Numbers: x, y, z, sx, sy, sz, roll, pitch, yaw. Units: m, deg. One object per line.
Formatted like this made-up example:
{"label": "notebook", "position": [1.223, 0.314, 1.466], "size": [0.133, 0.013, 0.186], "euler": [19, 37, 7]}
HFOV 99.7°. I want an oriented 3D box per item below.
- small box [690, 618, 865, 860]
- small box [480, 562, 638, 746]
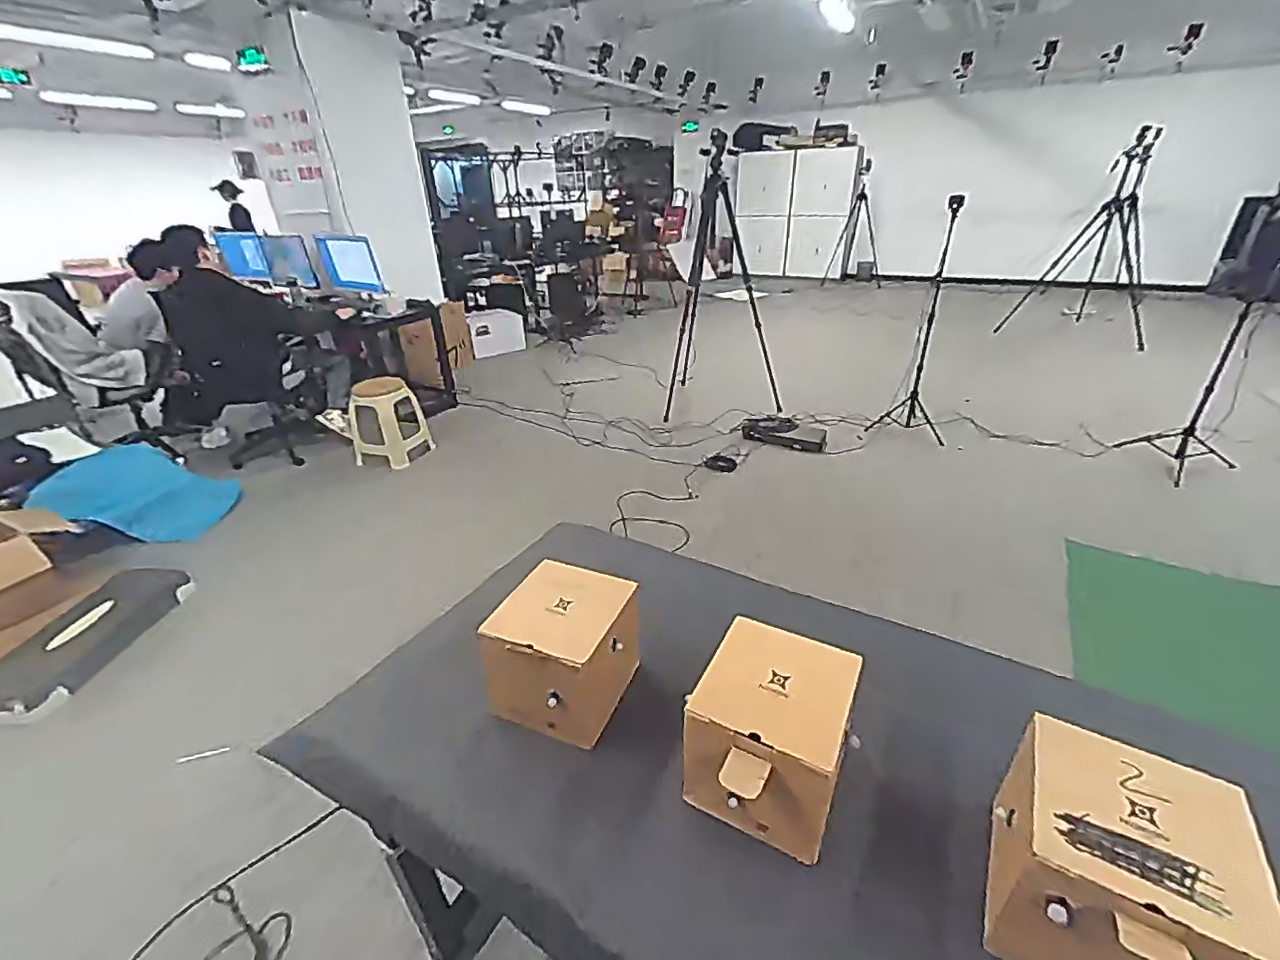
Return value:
{"label": "small box", "position": [0.166, 0.312, 0.673], "size": [0.168, 0.176, 0.179], "euler": [13, 32, 26]}
{"label": "small box", "position": [-0.107, 0.253, 0.803], "size": [0.168, 0.176, 0.179], "euler": [11, 29, 20]}
